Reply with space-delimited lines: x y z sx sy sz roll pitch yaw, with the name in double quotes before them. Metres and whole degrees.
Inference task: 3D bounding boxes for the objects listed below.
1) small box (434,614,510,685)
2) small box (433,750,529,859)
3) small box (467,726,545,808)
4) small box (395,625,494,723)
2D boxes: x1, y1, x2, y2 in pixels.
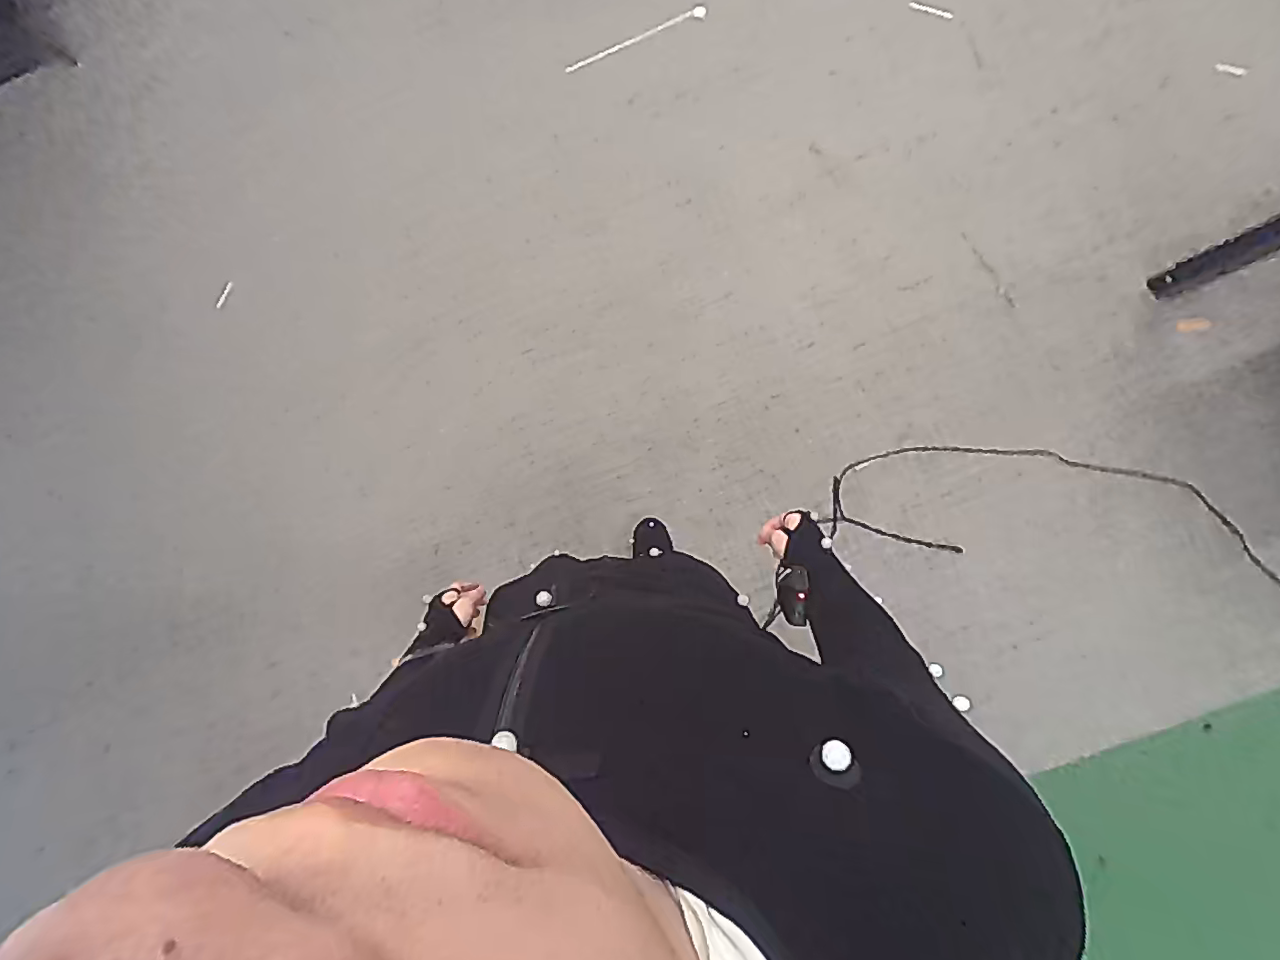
"small box" -0.499 0.512 1.578 0.168 0.176 0.179 -21 86 3
"small box" -0.399 0.825 1.391 0.179 0.176 0.168 -17 85 4
"small box" -0.384 0.836 1.555 0.179 0.176 0.168 -18 86 4
"small box" -0.502 0.500 1.415 0.168 0.176 0.179 -19 86 3
